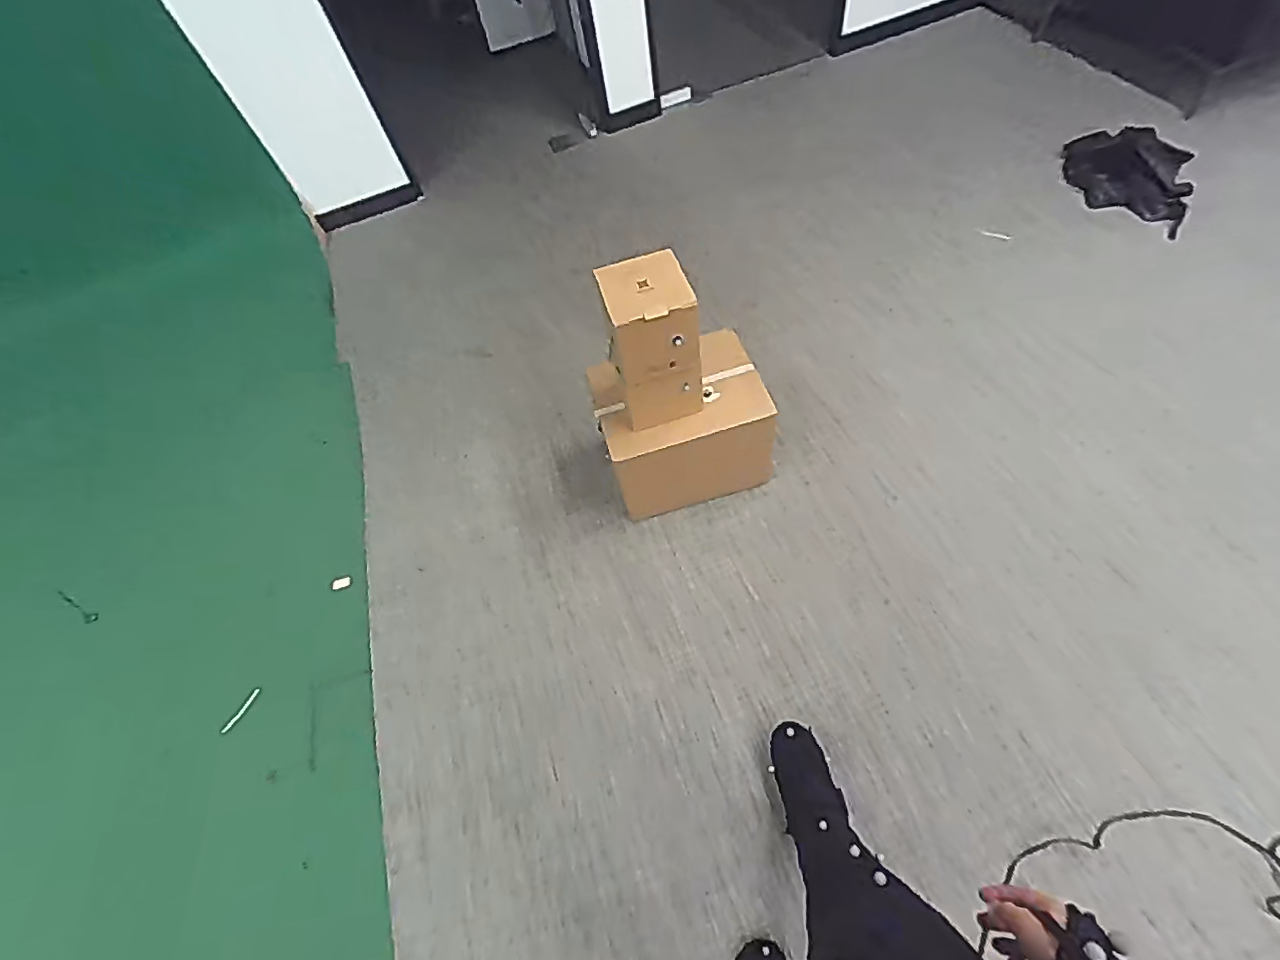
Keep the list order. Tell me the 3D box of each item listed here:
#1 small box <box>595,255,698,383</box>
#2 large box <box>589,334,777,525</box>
[{"bbox_3d":[0.018,-0.318,1.103,0.168,0.176,0.179,-16,56,-3],"label":"small box"},{"bbox_3d":[0.111,-0.128,1.454,0.408,0.320,0.320,-16,58,-2],"label":"large box"}]
